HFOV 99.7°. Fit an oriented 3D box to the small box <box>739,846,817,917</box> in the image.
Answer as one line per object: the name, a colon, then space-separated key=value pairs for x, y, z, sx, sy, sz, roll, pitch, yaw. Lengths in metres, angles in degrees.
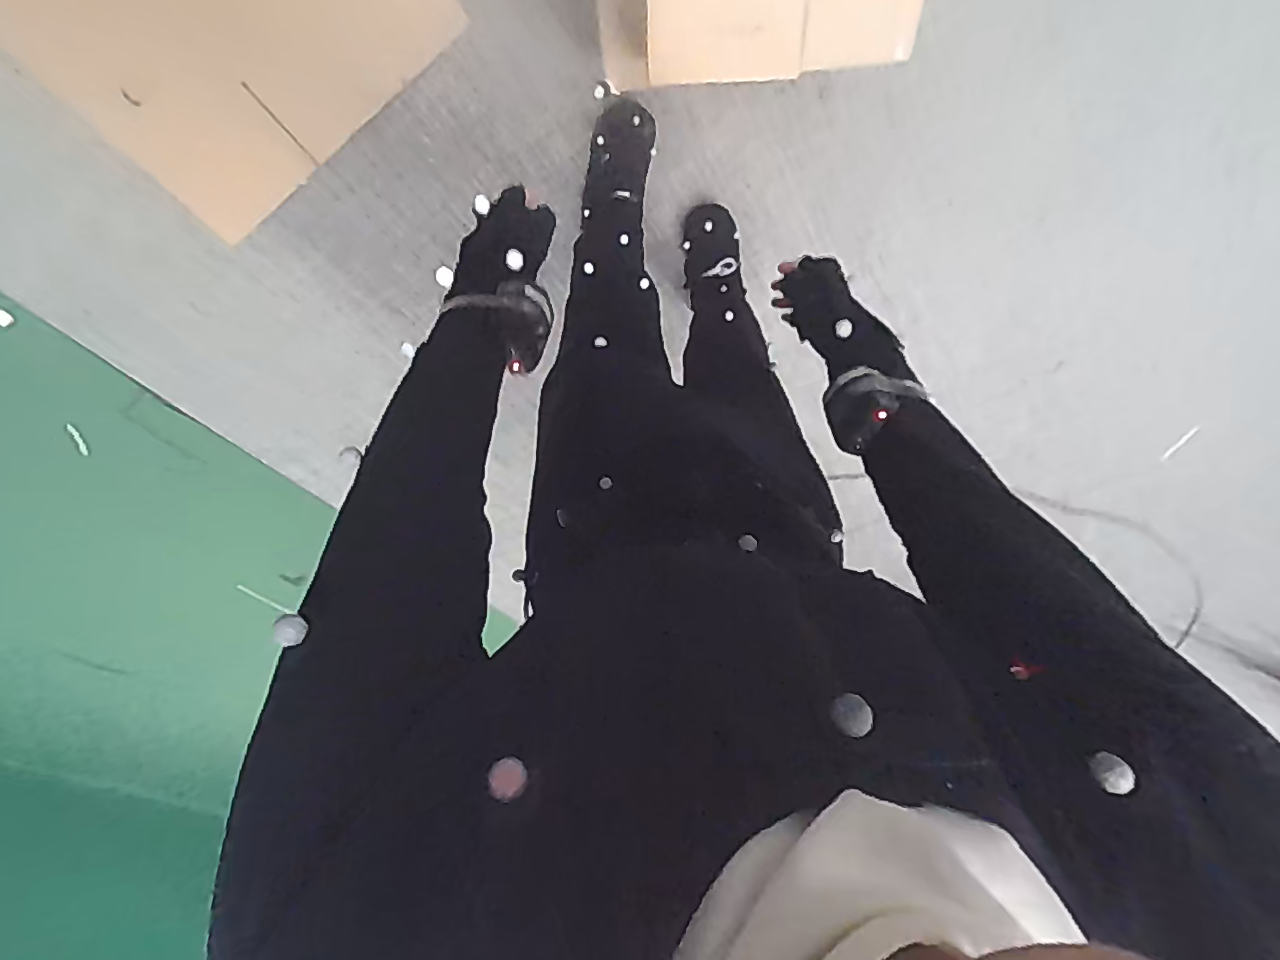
small box: x=0.445 y=1.319 z=1.769 sx=0.179 sy=0.176 sz=0.168 roll=-32 pitch=128 yaw=27

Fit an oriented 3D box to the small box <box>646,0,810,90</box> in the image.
small box: x=0.089 y=-0.549 z=0.590 sx=0.168 sy=0.176 sz=0.179 roll=-1 pitch=135 yaw=2
